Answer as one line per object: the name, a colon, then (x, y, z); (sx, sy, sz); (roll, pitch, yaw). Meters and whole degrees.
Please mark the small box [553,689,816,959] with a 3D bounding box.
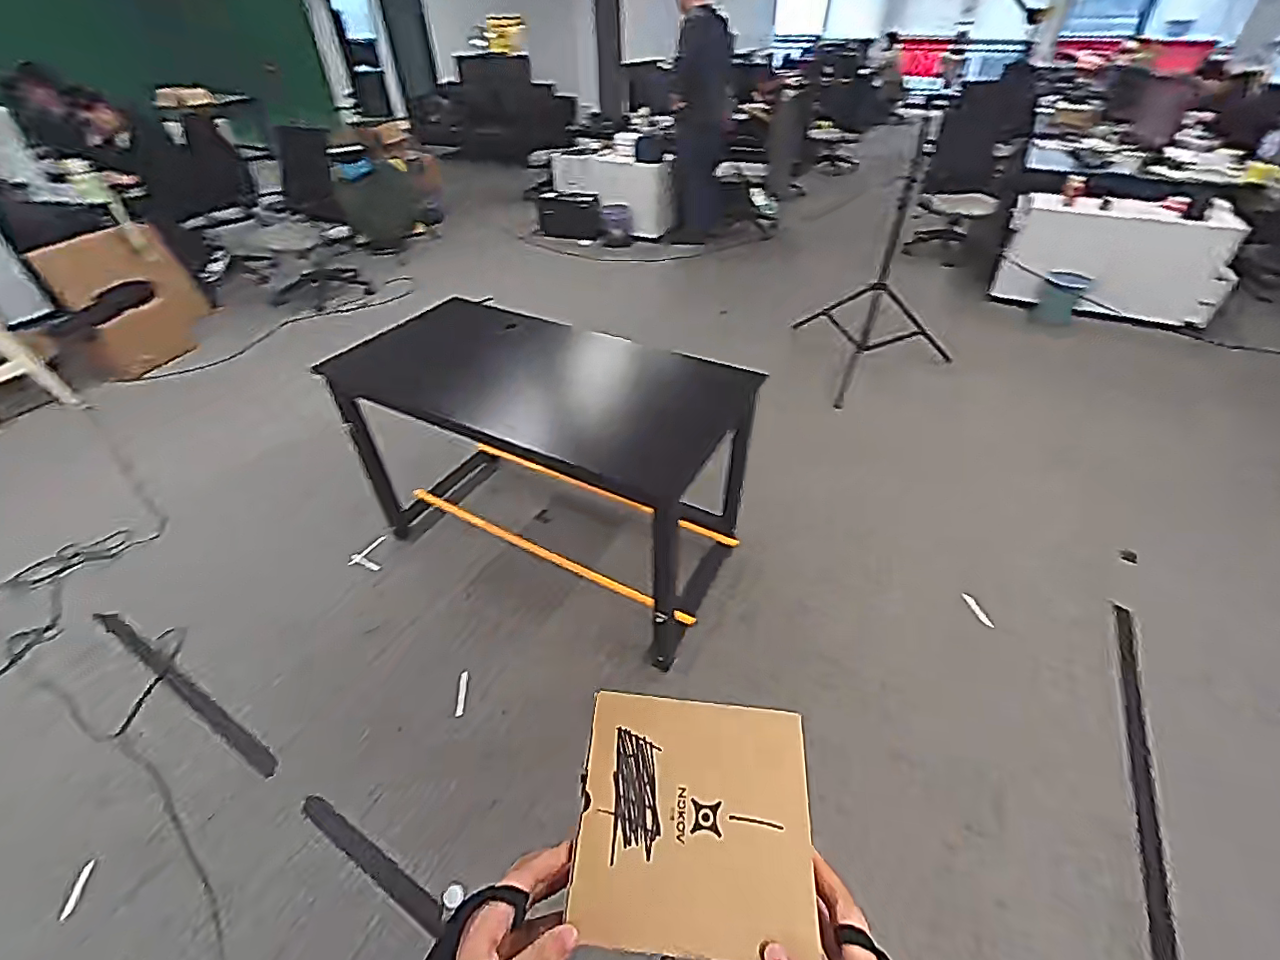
small box: (0.033, 0.295, 0.462); (0.179, 0.176, 0.168); (5, 51, 1)
